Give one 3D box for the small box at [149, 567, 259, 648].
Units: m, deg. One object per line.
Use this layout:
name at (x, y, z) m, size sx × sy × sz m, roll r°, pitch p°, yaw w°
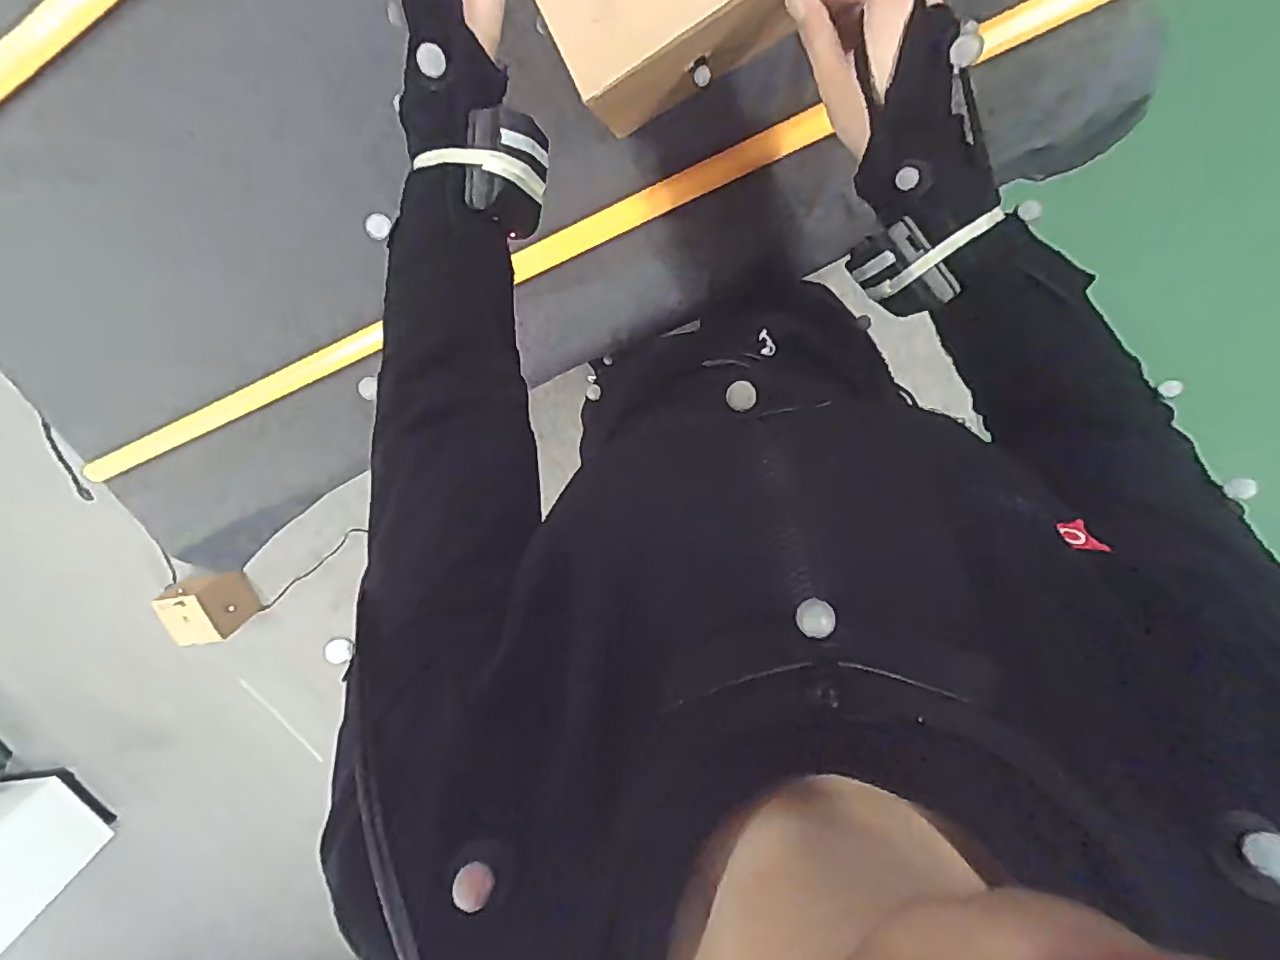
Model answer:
small box at (-1.350, 0.395, 1.690) m, size 0.168 × 0.176 × 0.179 m, roll -9°, pitch 113°, yaw 11°
